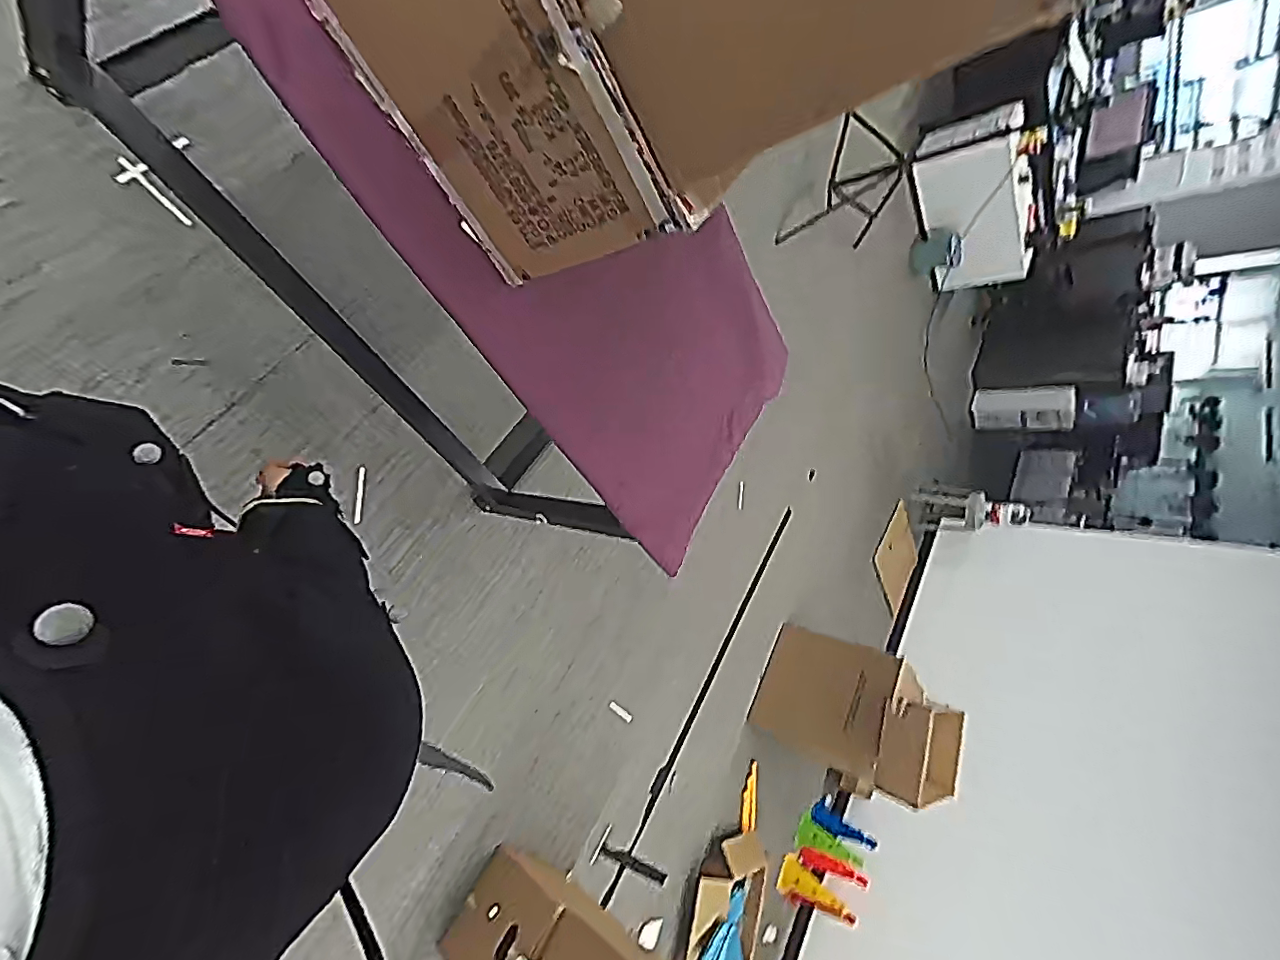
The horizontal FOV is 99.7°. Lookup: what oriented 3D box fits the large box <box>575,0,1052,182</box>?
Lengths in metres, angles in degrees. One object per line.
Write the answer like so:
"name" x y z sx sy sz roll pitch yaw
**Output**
"large box" 0.156 -0.527 0.432 0.320 0.320 0.408 52 59 -31
